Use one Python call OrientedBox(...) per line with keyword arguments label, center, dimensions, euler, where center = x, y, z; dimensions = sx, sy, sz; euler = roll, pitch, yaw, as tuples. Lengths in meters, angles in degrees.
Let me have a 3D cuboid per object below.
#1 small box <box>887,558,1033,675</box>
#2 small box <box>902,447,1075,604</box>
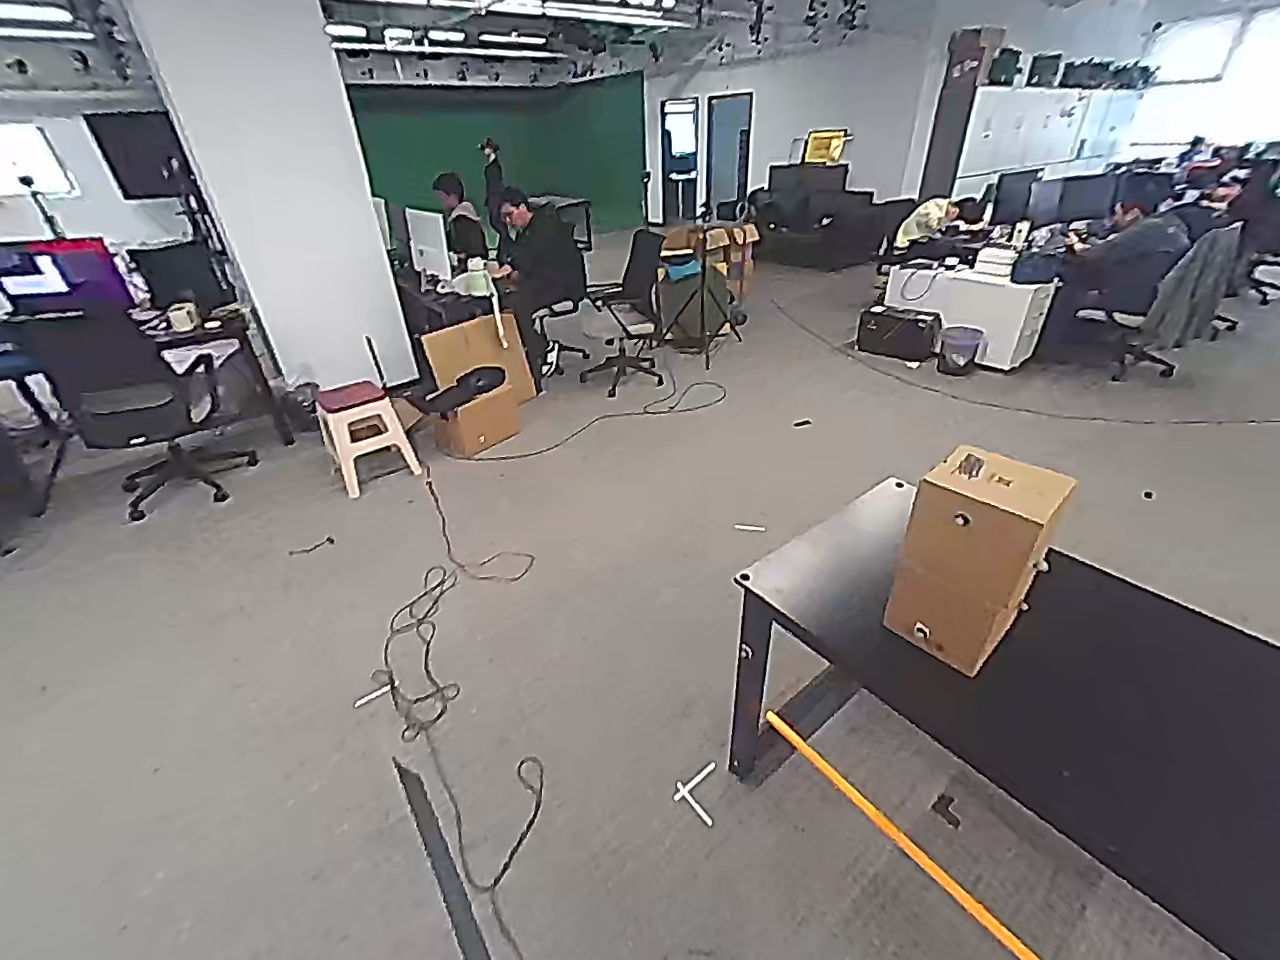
OrientedBox(label="small box", center=(0.573, 0.210, 0.980), dimensions=(0.179, 0.176, 0.168), euler=(-28, 39, -33))
OrientedBox(label="small box", center=(0.563, 0.072, 0.892), dimensions=(0.168, 0.176, 0.179), euler=(-27, 40, -34))
